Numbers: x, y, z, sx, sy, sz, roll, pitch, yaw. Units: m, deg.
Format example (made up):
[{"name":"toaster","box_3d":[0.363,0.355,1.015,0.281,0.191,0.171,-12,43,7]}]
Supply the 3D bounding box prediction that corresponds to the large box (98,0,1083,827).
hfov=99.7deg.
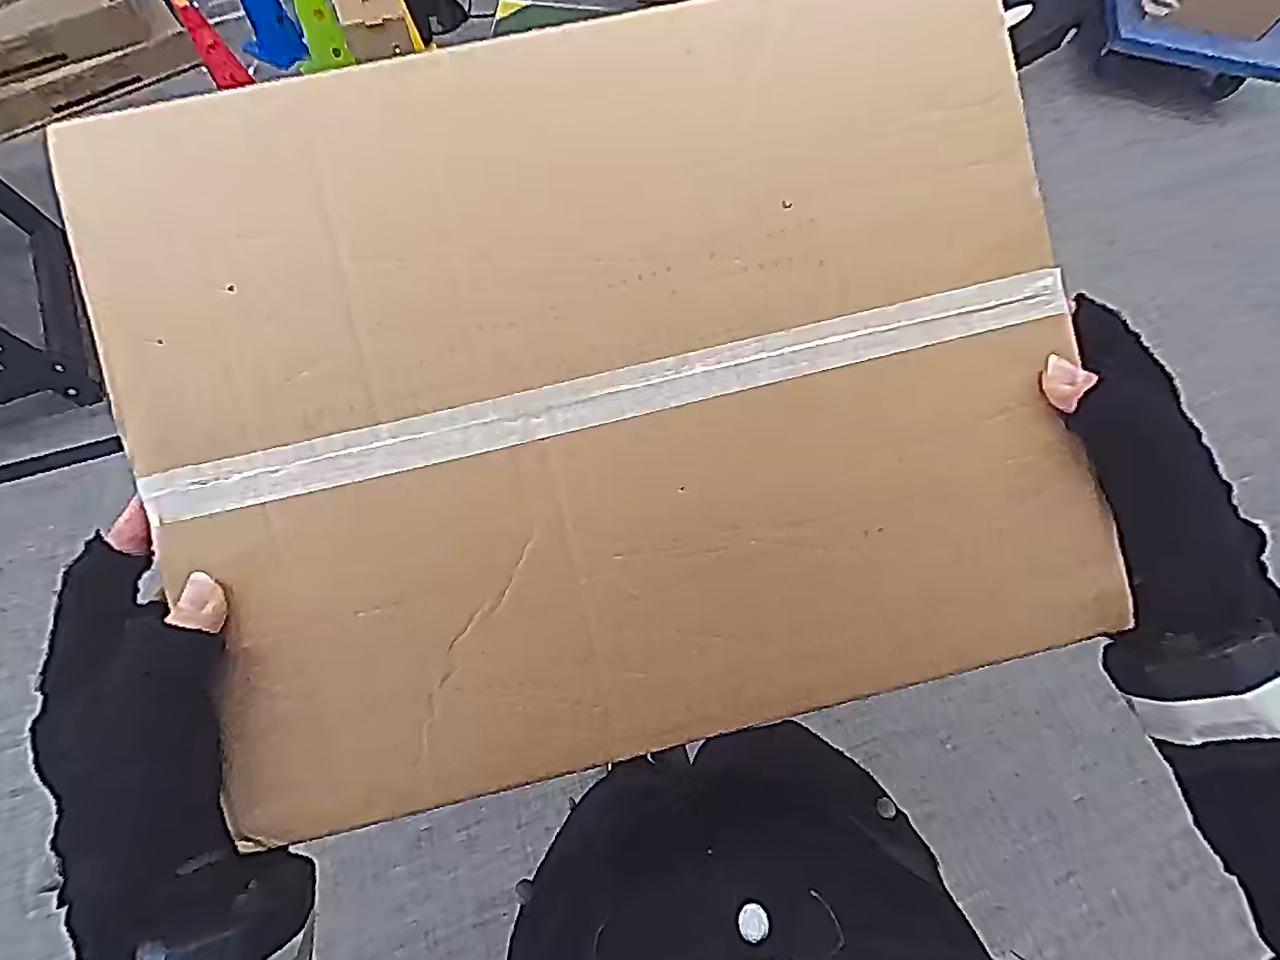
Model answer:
[{"name":"large box","box_3d":[-0.016,-0.041,0.396,0.408,0.320,0.320,-13,91,-3]}]
